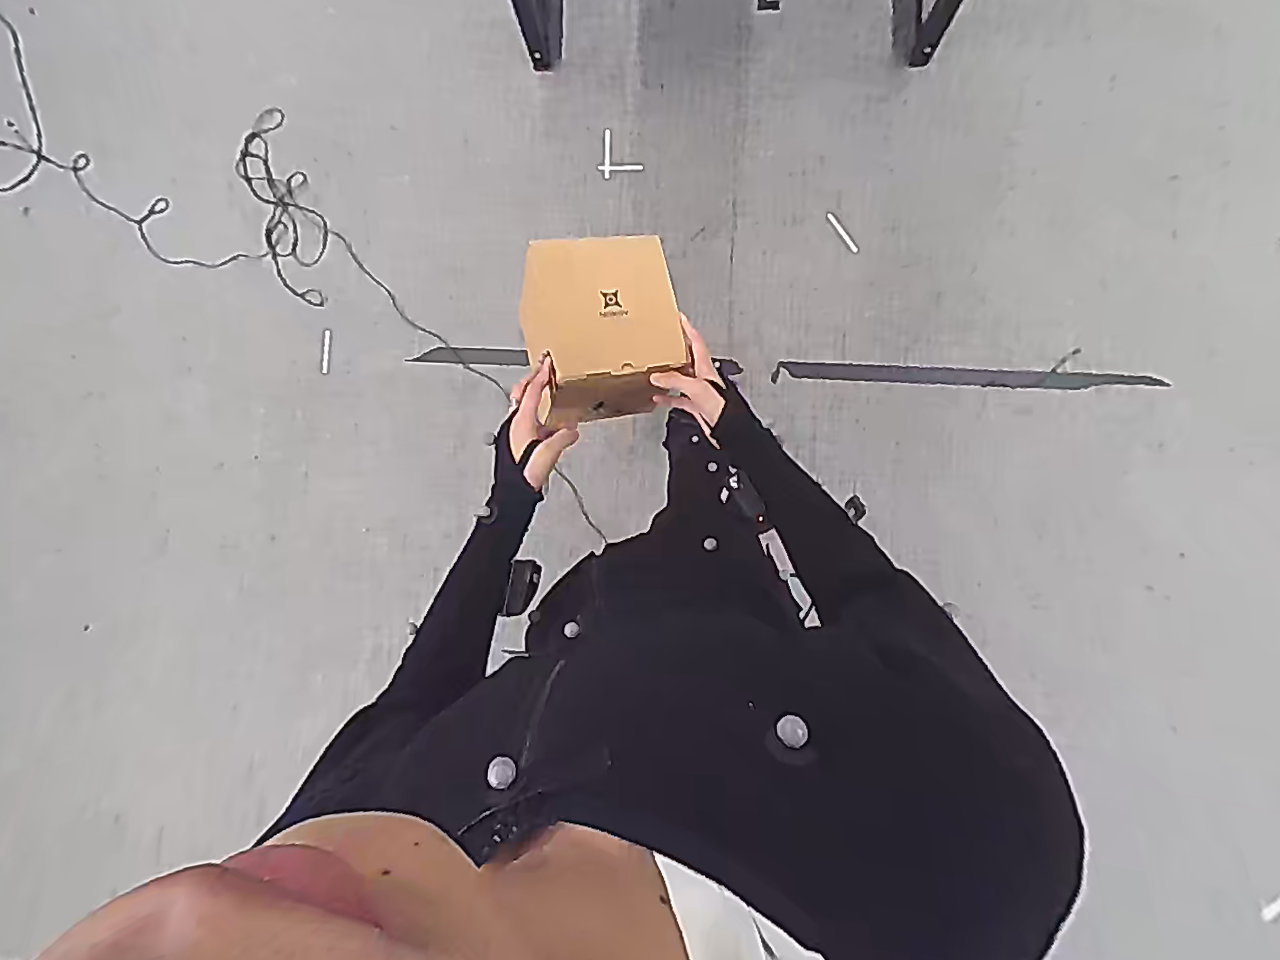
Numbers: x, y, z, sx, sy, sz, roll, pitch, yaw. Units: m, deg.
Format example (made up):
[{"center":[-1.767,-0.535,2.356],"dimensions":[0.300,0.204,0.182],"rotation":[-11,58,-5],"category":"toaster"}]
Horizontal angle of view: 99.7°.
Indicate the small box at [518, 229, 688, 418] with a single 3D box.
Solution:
[{"center":[-0.060,-0.198,0.708],"dimensions":[0.168,0.176,0.179],"rotation":[-12,81,-18],"category":"small box"}]
